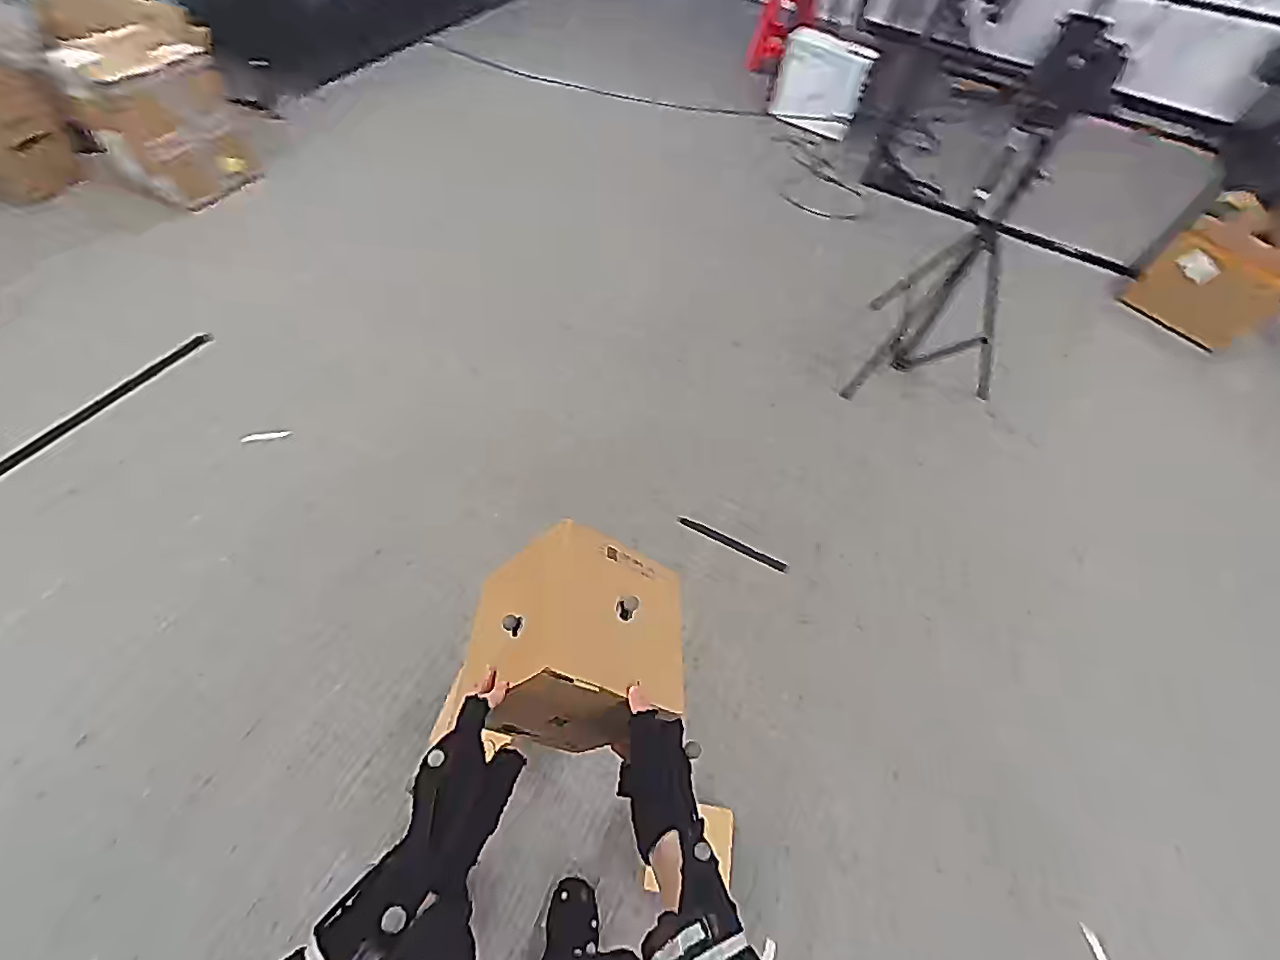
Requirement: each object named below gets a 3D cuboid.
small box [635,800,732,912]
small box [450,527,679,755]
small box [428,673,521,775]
[{"bbox_3d":[0.089,0.809,1.169,0.179,0.176,0.168,11,56,1],"label":"small box"},{"bbox_3d":[-0.079,0.179,0.595,0.168,0.179,0.176,32,38,-29],"label":"small box"},{"bbox_3d":[-0.364,0.579,1.273,0.179,0.176,0.168,15,55,5],"label":"small box"}]
